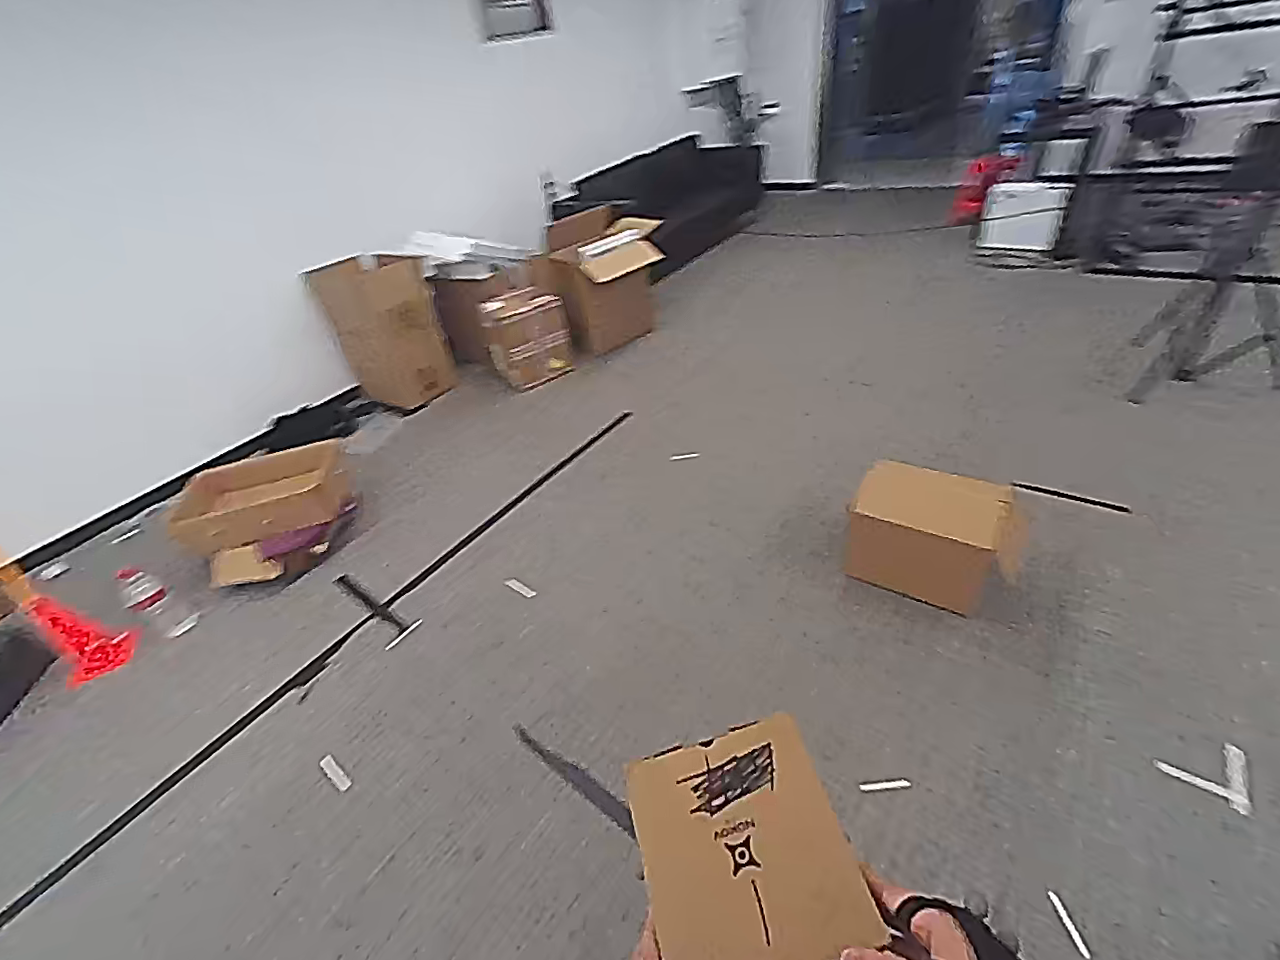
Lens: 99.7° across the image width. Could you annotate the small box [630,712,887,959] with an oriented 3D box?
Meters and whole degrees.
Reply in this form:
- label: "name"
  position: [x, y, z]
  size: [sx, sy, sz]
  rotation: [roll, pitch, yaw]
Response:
- label: "small box"
  position: [0.098, 0.354, 0.503]
  size: [0.168, 0.176, 0.179]
  rotation: [-17, 43, -2]
